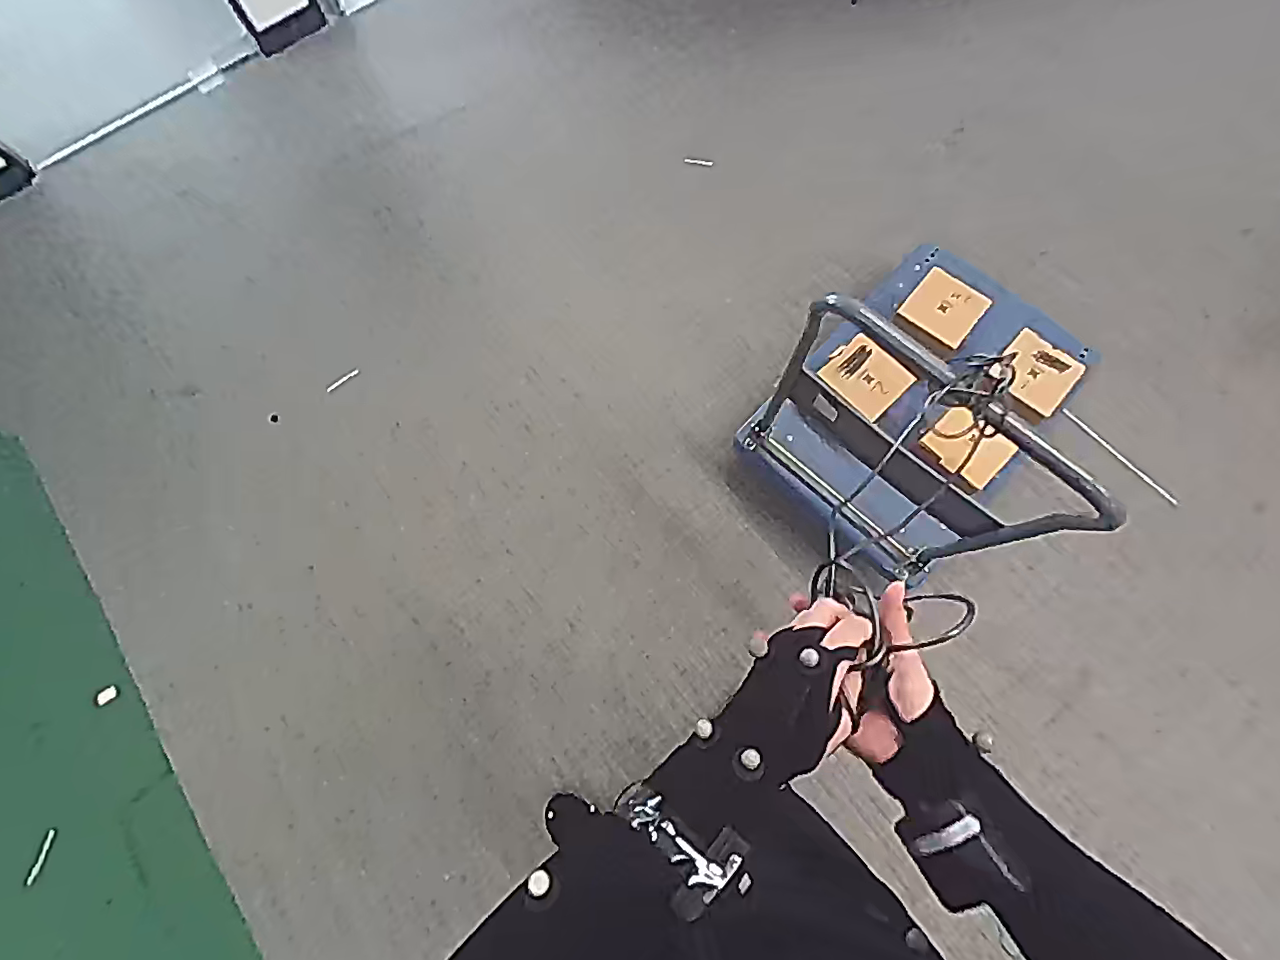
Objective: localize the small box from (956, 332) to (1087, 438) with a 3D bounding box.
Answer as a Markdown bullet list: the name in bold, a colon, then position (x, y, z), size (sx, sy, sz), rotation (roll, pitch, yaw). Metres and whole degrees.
- **small box**: position (0.926, -0.220, 1.332), size (0.168, 0.176, 0.179), rotation (41, 79, 14)

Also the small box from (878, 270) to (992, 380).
- **small box**: position (0.745, -0.391, 1.392), size (0.168, 0.176, 0.179), rotation (40, 78, 12)

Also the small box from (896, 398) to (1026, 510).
- **small box**: position (0.751, -0.056, 1.289), size (0.179, 0.176, 0.168), rotation (-43, 76, -10)
